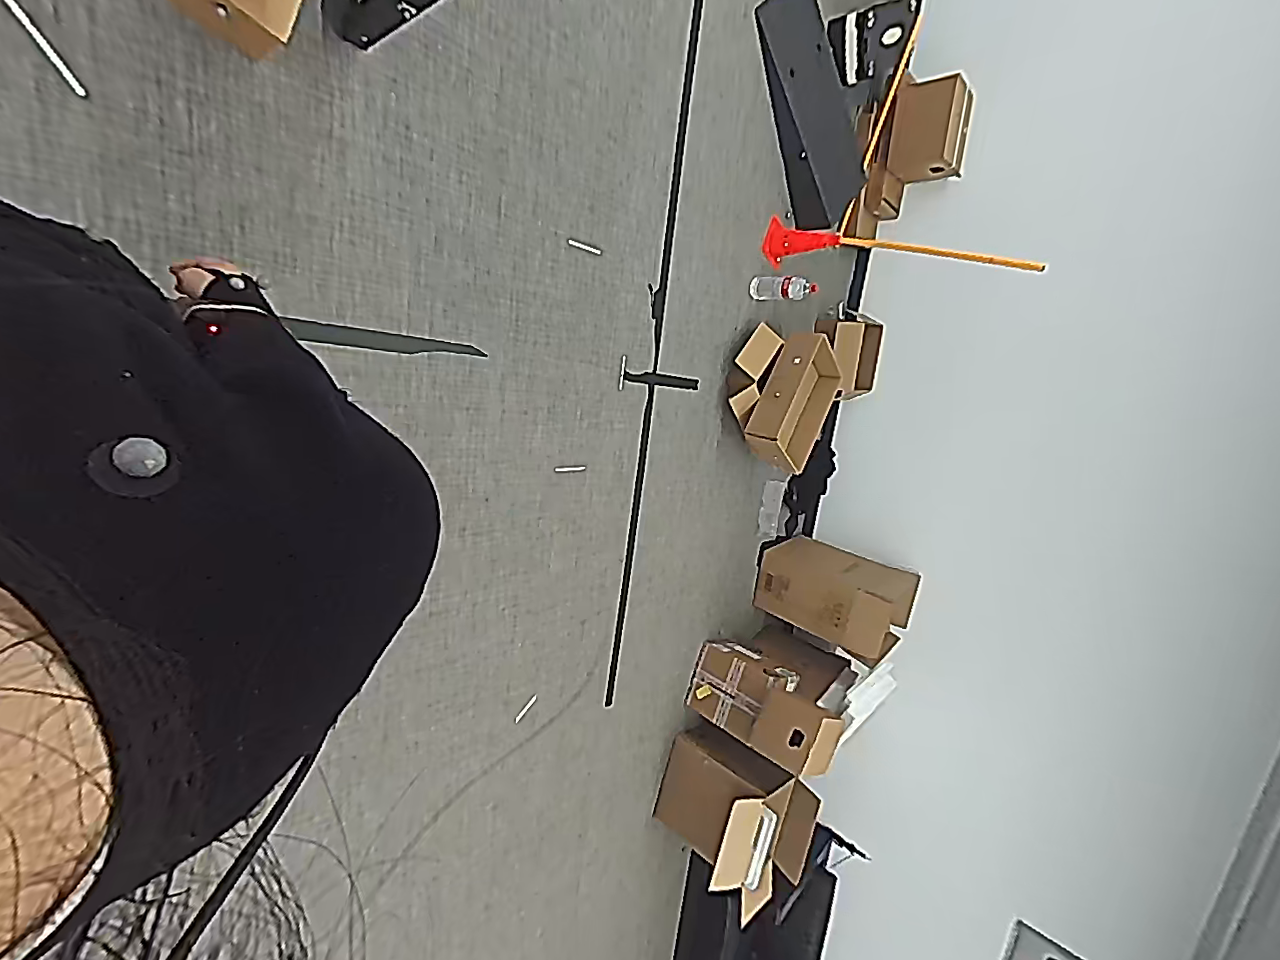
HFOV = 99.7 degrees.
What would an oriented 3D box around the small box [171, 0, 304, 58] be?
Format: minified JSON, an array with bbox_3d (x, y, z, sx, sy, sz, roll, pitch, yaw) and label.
[{"bbox_3d":[-0.766,-0.953,1.030,0.179,0.176,0.168,20,89,-49],"label":"small box"}]
